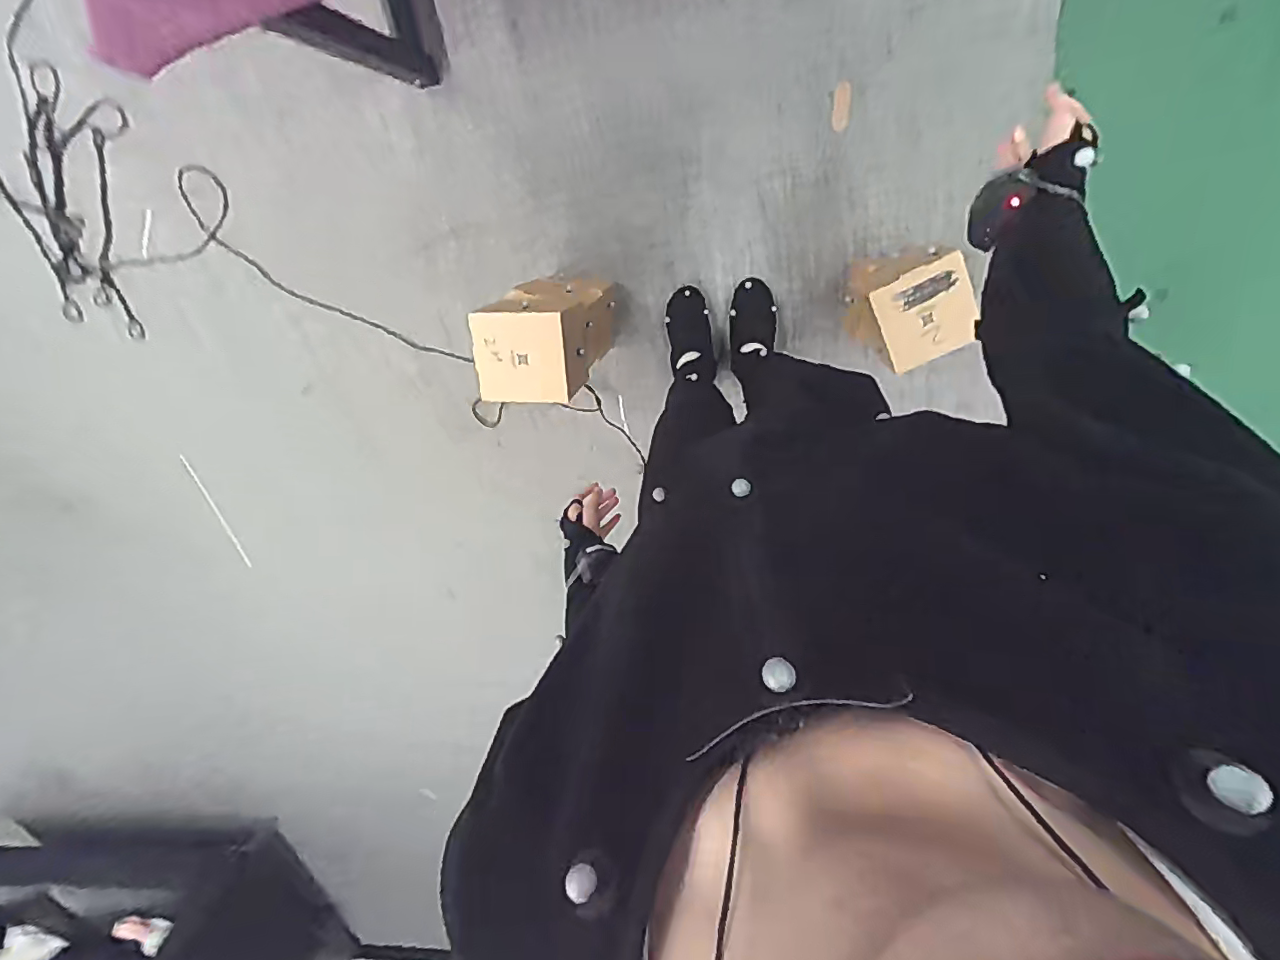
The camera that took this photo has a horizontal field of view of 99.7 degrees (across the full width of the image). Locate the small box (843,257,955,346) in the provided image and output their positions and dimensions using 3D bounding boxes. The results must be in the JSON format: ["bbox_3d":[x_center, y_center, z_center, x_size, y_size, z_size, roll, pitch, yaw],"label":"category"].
[{"bbox_3d":[0.570,-0.408,1.222,0.179,0.176,0.168,4,118,7],"label":"small box"}]

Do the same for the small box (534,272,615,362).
[{"bbox_3d":[-0.161,-0.409,1.337,0.168,0.176,0.179,9,118,5],"label":"small box"}]

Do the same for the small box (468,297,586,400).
[{"bbox_3d":[-0.207,-0.261,1.050,0.179,0.176,0.168,3,116,9],"label":"small box"}]
